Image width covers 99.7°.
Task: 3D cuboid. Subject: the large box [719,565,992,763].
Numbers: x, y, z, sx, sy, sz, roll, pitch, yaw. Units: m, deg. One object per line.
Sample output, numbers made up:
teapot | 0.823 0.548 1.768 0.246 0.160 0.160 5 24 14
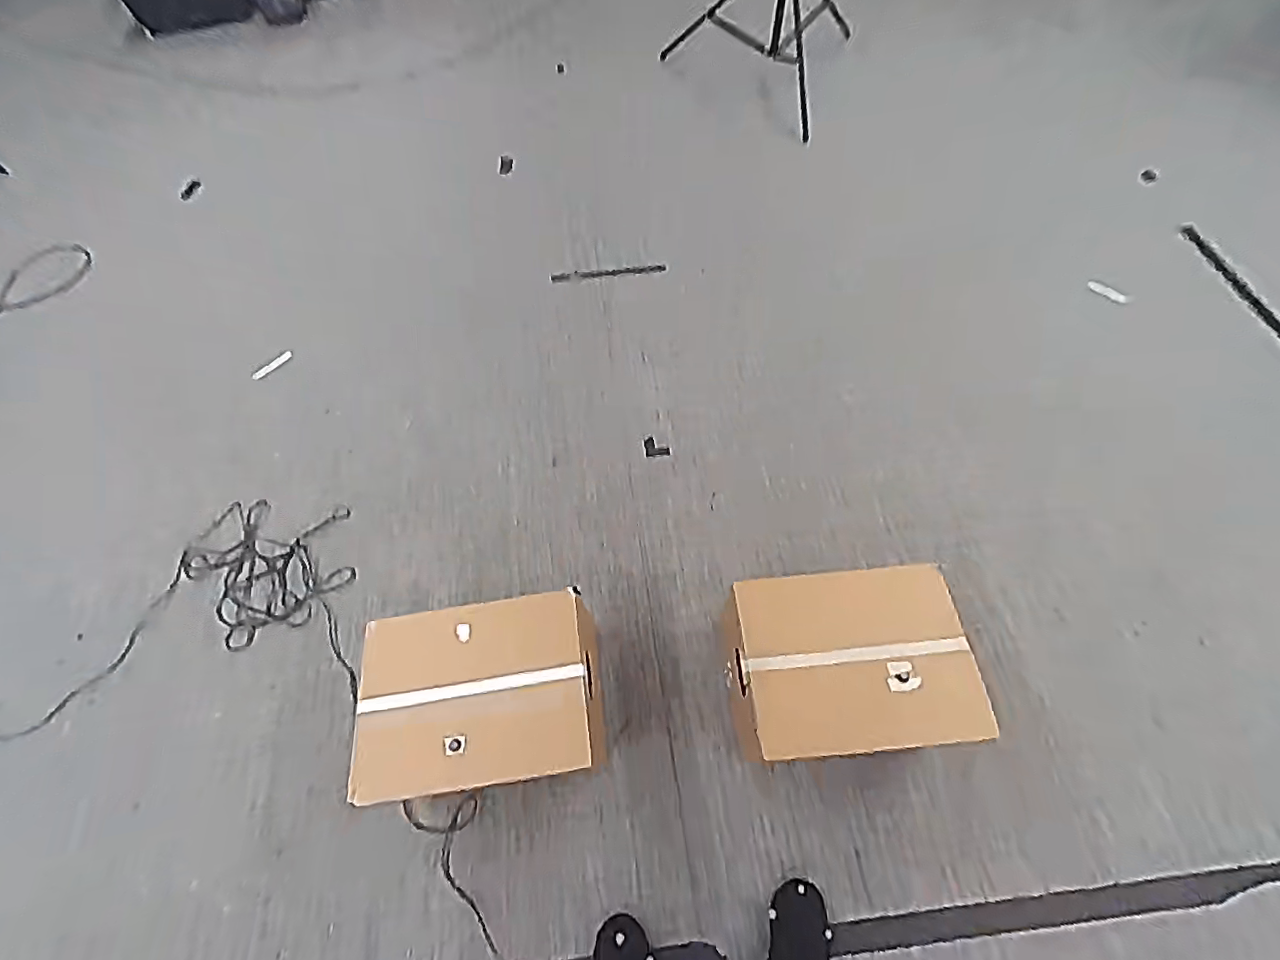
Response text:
large box | 0.397 0.390 1.119 0.408 0.320 0.320 -5 62 -1
